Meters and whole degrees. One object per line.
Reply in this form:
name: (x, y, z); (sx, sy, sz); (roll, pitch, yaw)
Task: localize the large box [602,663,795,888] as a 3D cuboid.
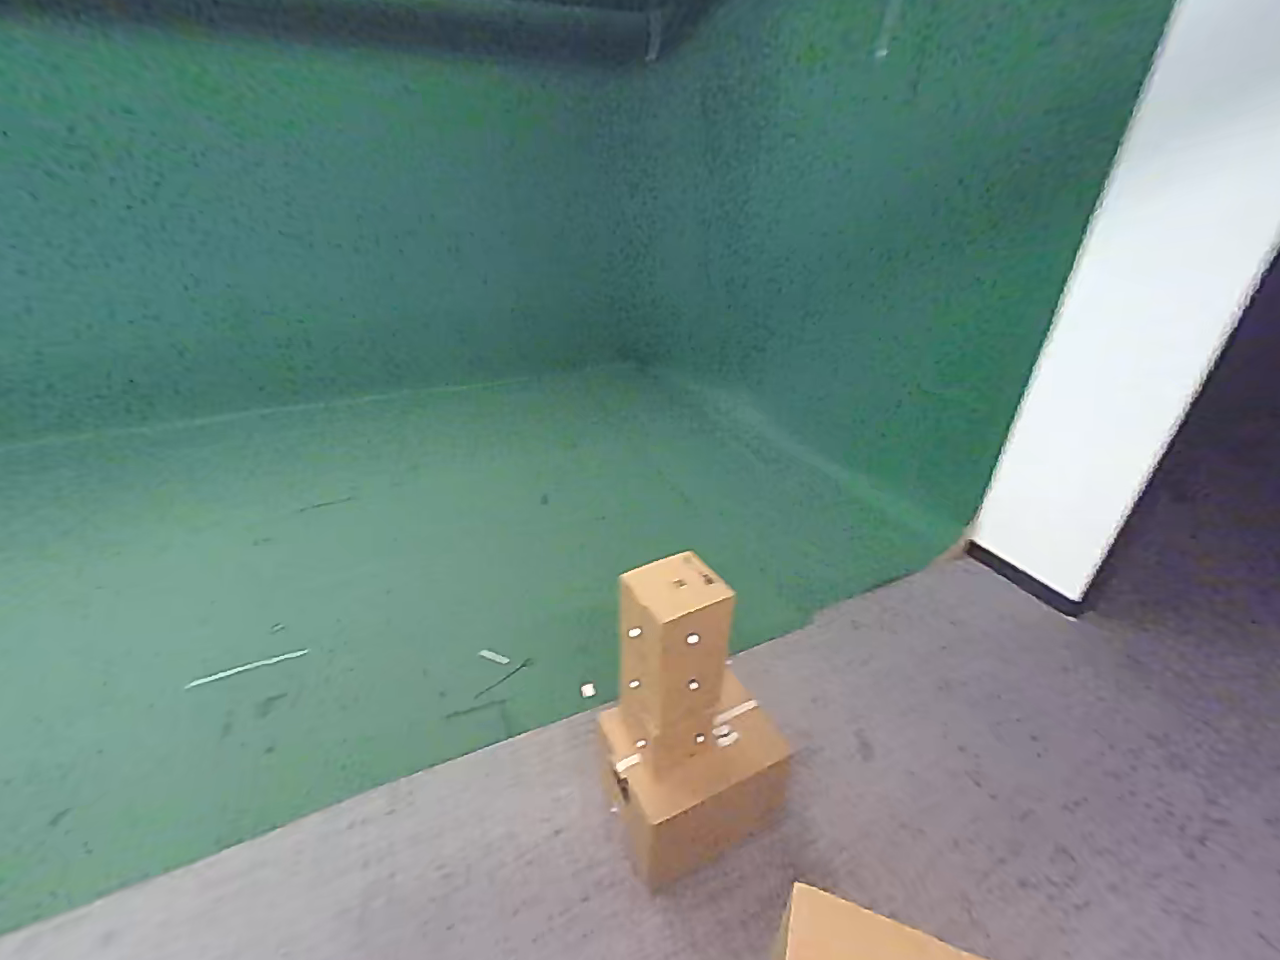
large box: (0.140, 0.768, 1.444); (0.408, 0.320, 0.320); (-13, 33, -23)

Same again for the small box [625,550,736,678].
small box: (0.081, 0.282, 1.141); (0.179, 0.176, 0.168); (-15, 34, -25)

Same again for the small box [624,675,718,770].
small box: (0.072, 0.565, 1.307); (0.168, 0.176, 0.179); (-14, 33, -24)

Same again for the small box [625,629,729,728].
small box: (0.080, 0.423, 1.226); (0.179, 0.176, 0.168); (-16, 35, -27)
